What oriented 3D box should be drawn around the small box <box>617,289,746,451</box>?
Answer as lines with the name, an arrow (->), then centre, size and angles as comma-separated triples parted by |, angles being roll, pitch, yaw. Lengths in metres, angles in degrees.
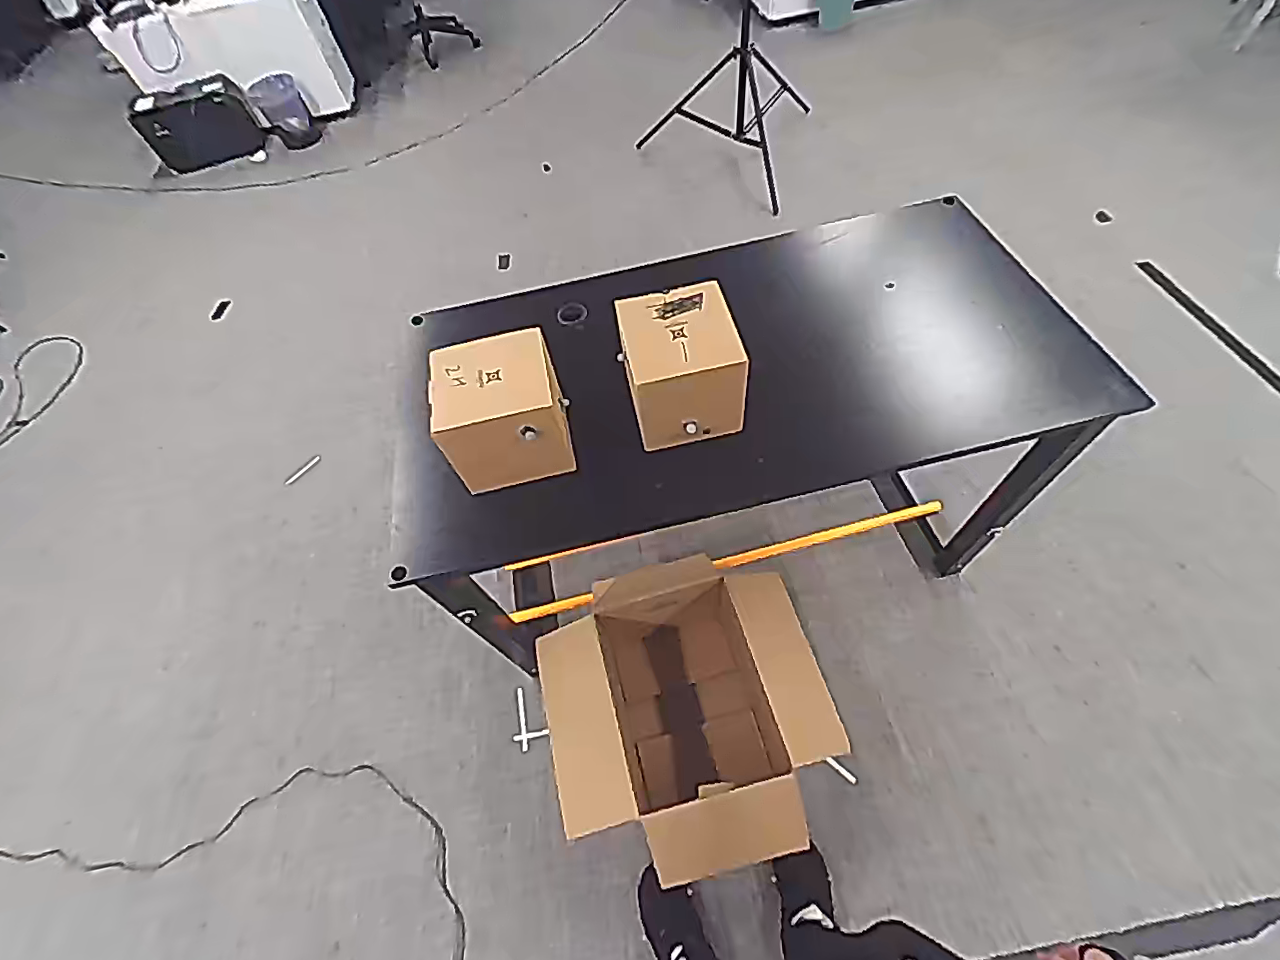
small box -> 0.063, -0.173, 0.873 | 0.168, 0.176, 0.179 | -12, 58, -1

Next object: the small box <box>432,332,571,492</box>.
small box -> -0.213, -0.103, 0.860 | 0.179, 0.176, 0.168 | -14, 57, -2
